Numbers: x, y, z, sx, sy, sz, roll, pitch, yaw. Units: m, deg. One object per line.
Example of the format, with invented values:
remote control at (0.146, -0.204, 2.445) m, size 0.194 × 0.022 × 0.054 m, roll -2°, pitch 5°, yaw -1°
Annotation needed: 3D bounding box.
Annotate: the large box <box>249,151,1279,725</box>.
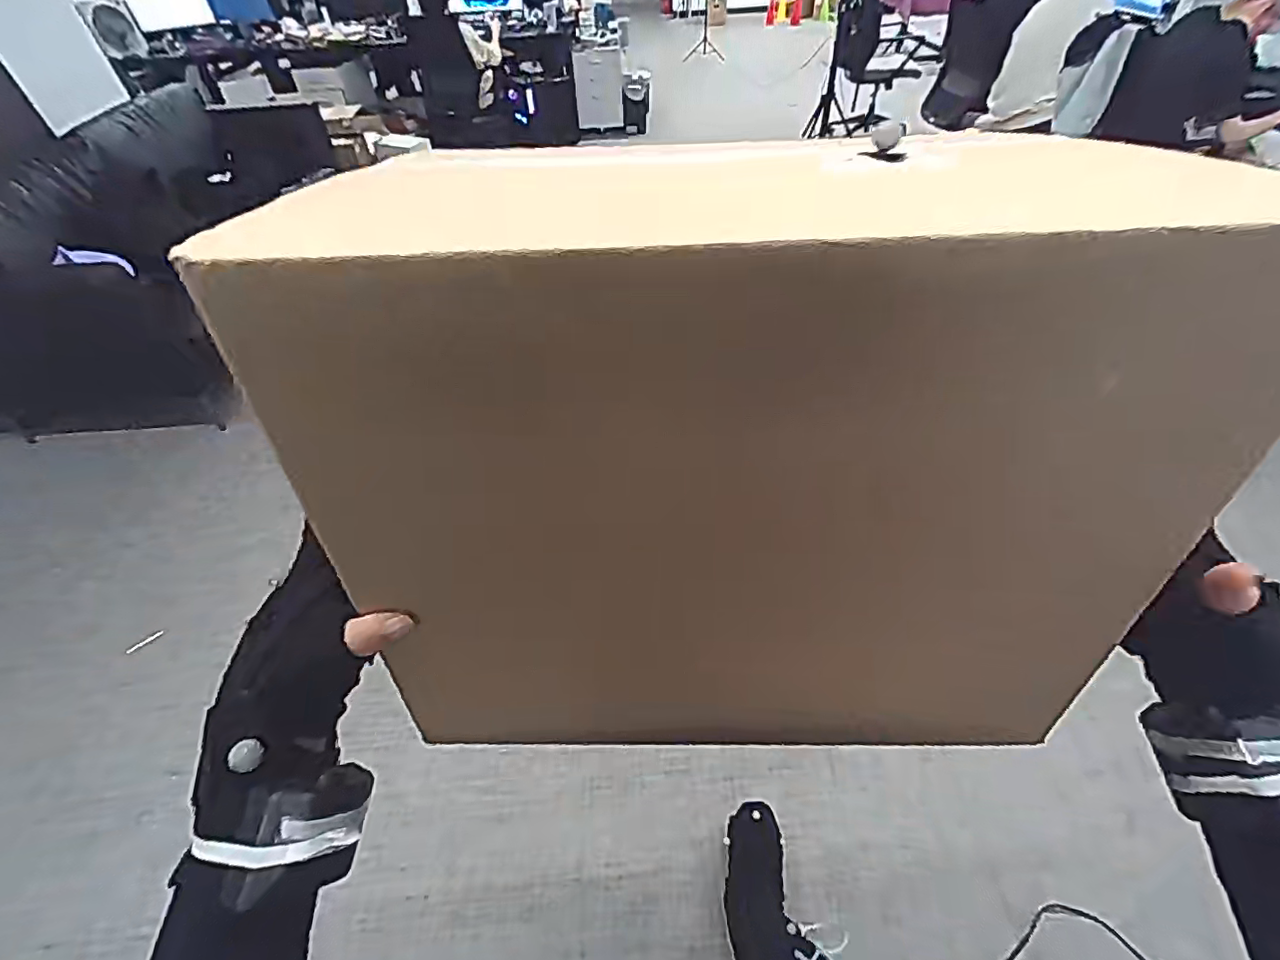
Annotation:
large box at (0.058, -0.045, 0.396) m, size 0.408 × 0.320 × 0.320 m, roll 0°, pitch 37°, yaw 1°
